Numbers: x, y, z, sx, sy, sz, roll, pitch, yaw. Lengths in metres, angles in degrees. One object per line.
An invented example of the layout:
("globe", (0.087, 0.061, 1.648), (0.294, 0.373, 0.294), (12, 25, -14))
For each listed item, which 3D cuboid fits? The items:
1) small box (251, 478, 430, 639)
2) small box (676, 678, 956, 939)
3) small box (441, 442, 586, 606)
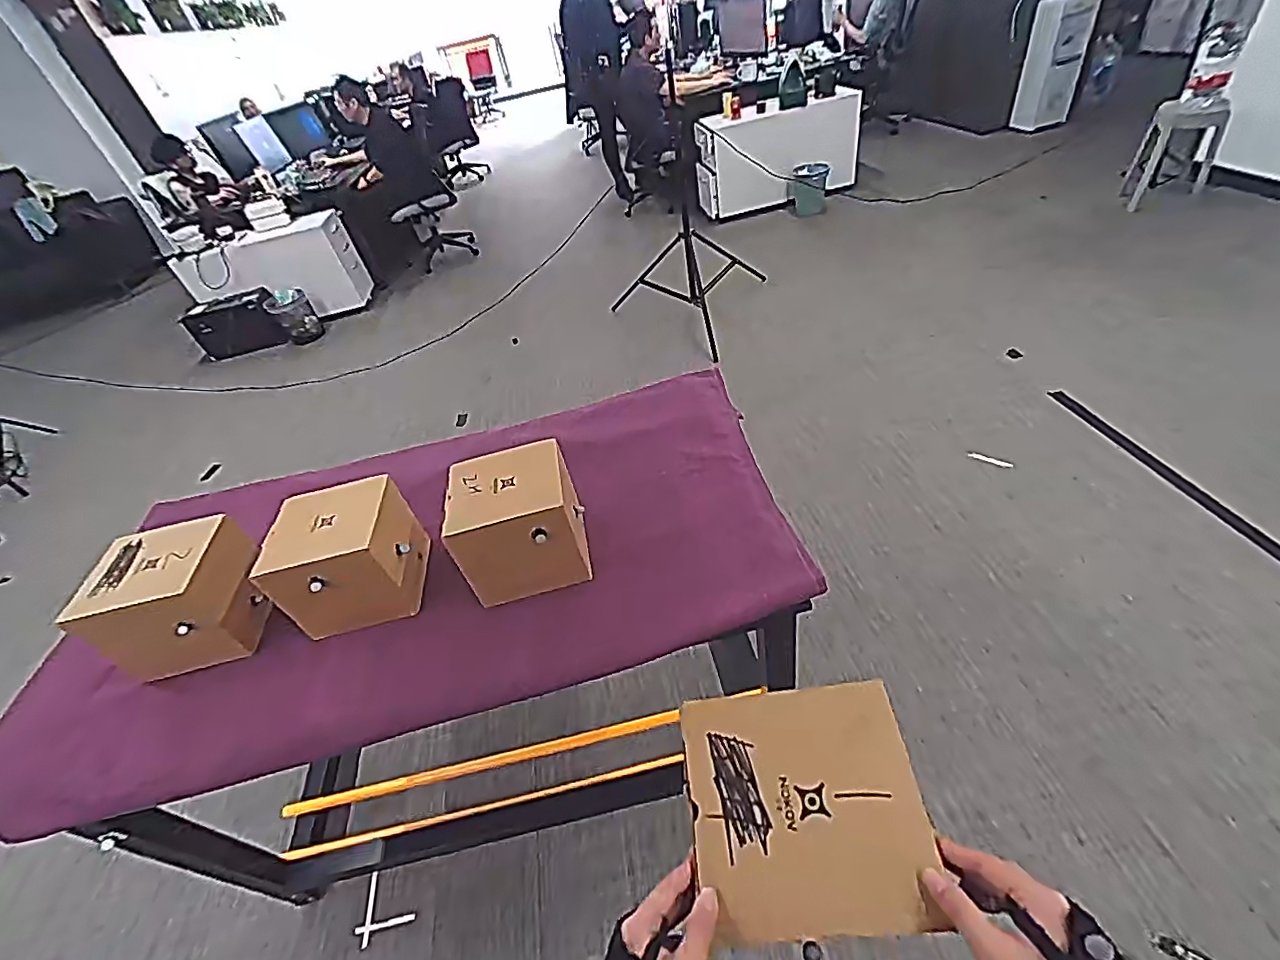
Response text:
("small box", (-0.460, 0.128, 0.867), (0.179, 0.176, 0.168), (-15, 42, 0))
("small box", (0.137, 0.291, 0.473), (0.179, 0.176, 0.168), (-10, 51, 7))
("small box", (-0.188, 0.070, 0.850), (0.179, 0.176, 0.168), (-15, 40, -1))
